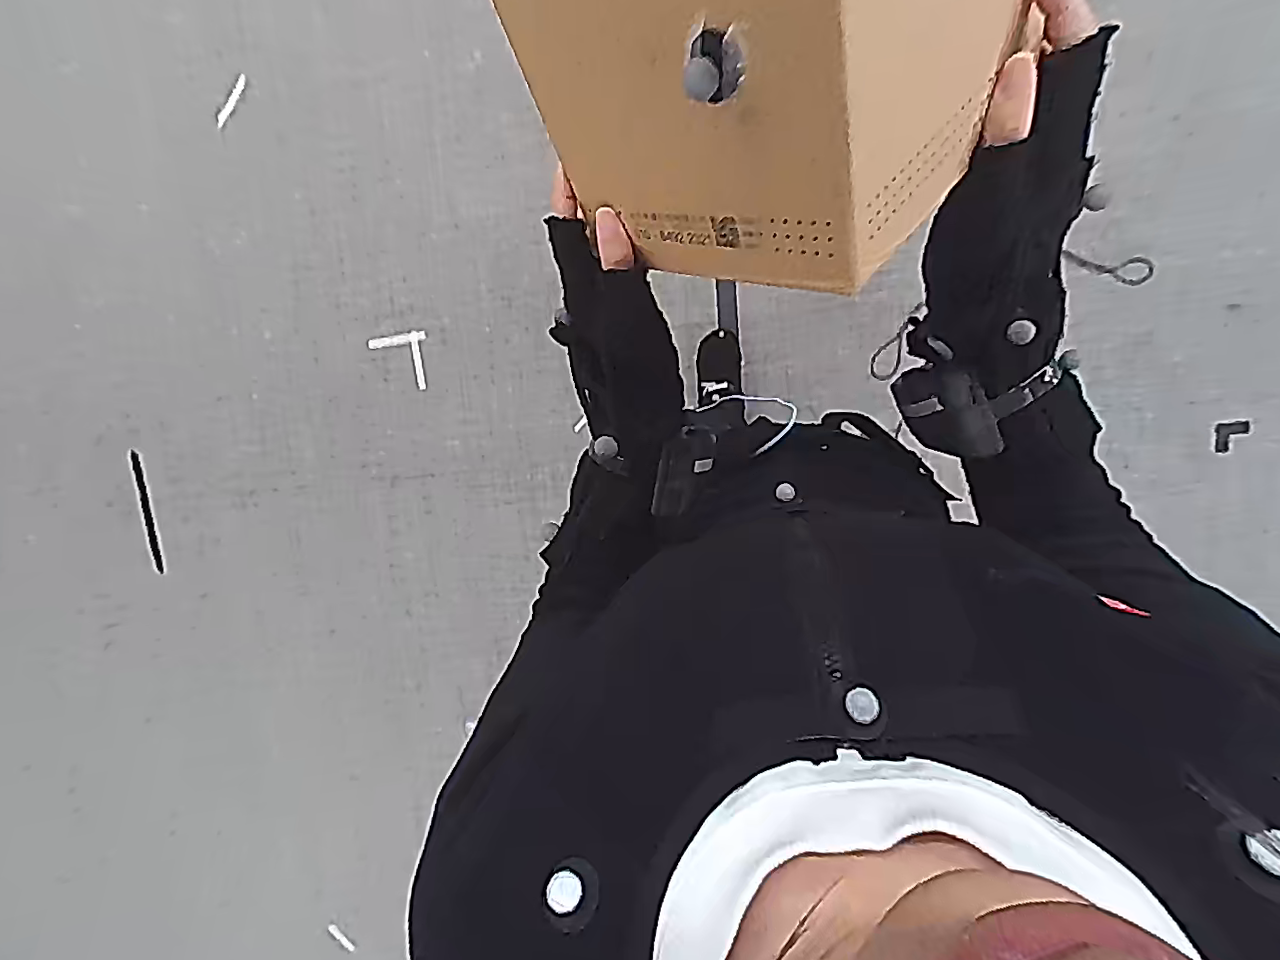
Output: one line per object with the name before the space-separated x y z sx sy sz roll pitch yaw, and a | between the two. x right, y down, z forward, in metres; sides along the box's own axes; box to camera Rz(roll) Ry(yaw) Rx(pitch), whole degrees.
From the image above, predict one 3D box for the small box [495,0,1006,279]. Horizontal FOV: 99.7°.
small box | 0.060 -0.223 0.263 0.168 0.176 0.179 29 67 40
